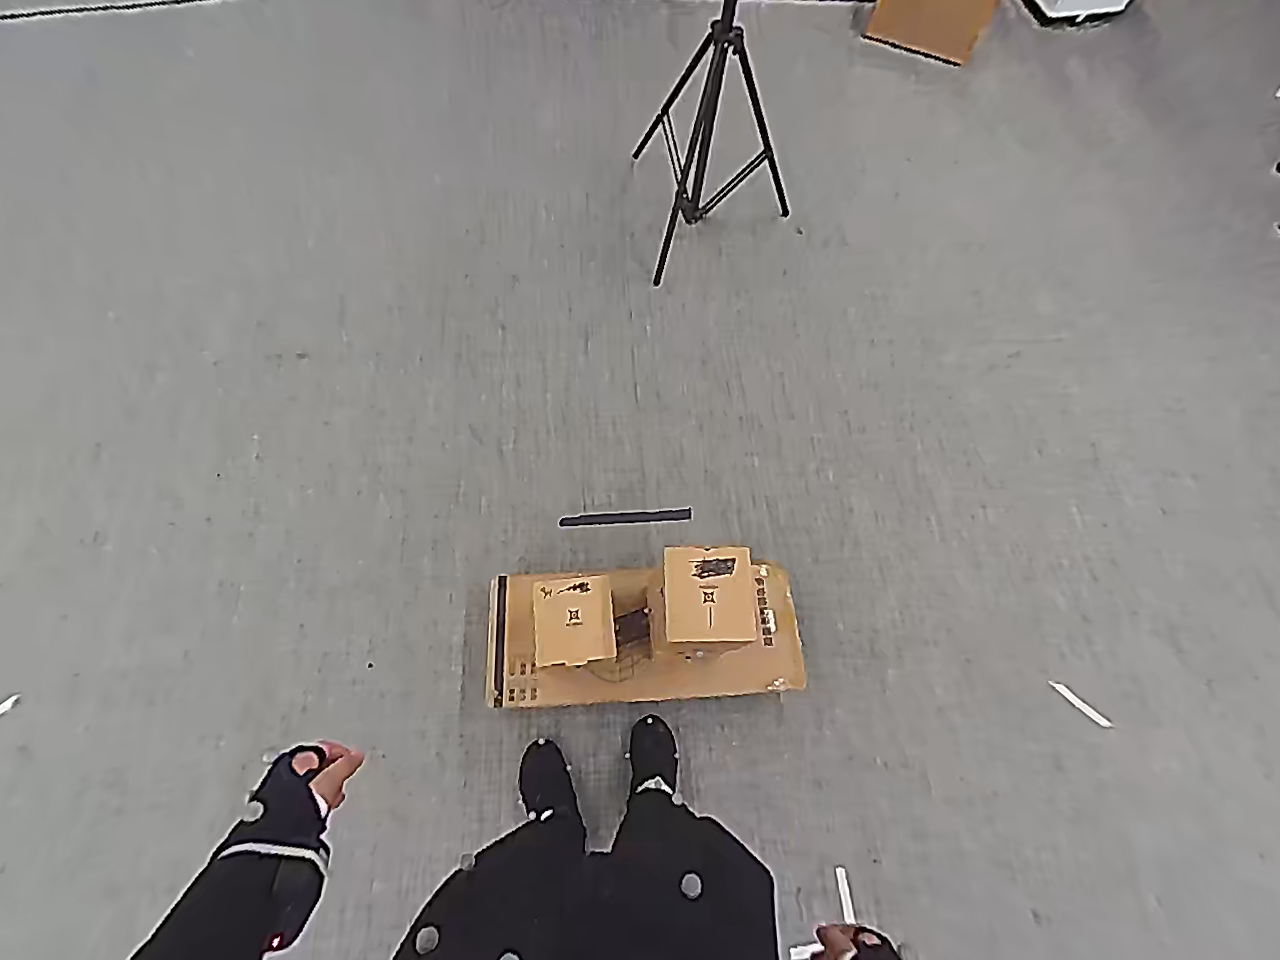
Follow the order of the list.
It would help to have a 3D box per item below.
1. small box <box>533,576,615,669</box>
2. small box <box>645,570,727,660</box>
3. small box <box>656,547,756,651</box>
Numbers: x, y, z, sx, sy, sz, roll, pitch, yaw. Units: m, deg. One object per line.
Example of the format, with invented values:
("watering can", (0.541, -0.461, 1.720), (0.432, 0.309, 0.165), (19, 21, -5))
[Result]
("small box", (-0.143, 0.321, 1.197), (0.168, 0.176, 0.179), (-4, 69, -6))
("small box", (0.103, 0.304, 1.221), (0.168, 0.176, 0.179), (-3, 68, -4))
("small box", (0.122, 0.239, 1.071), (0.168, 0.176, 0.179), (1, 68, -3))
